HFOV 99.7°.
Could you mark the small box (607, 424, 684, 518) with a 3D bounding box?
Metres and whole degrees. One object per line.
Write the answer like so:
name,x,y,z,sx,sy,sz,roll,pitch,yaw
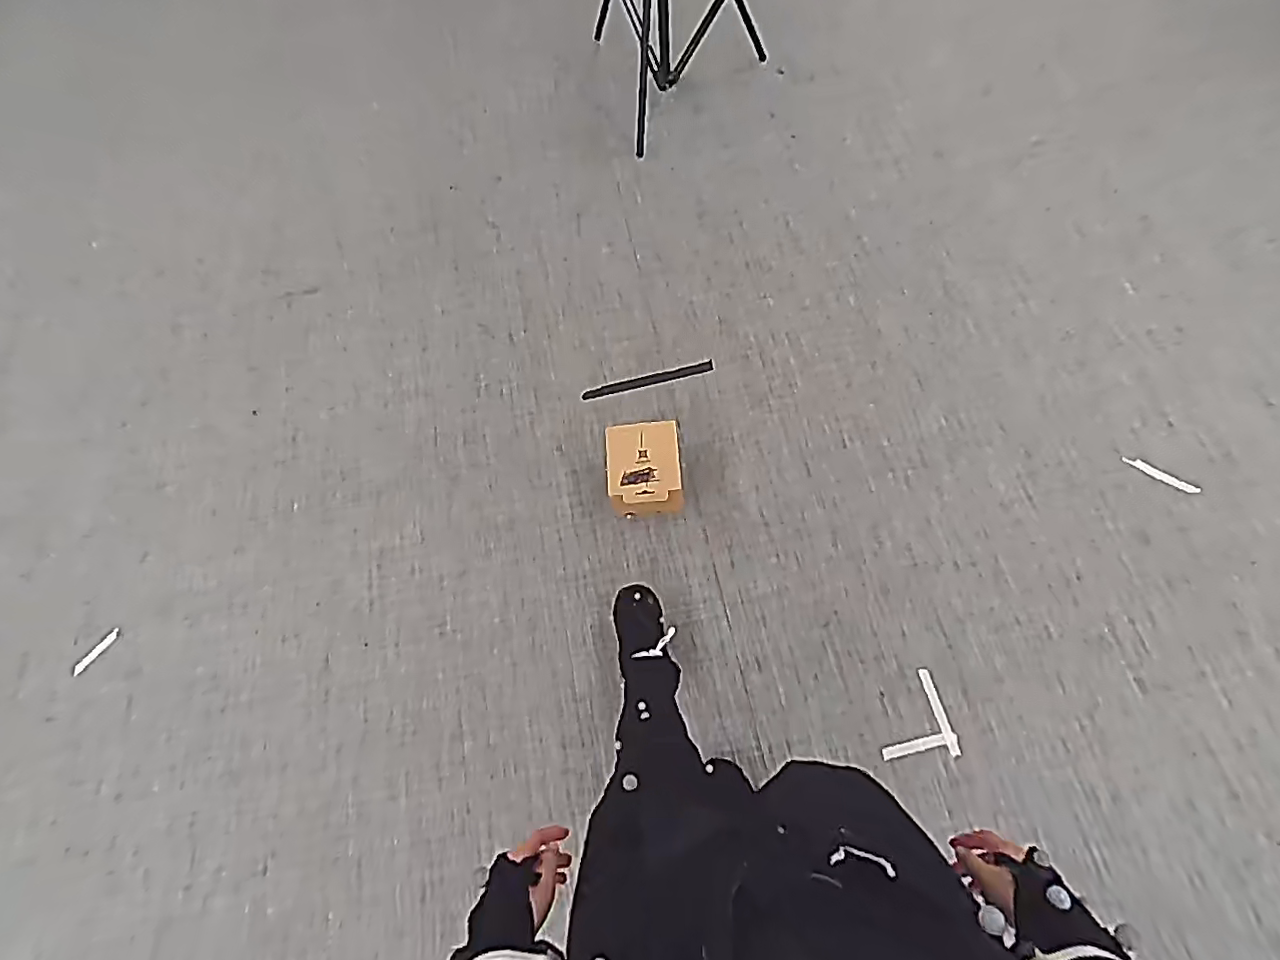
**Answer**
small box,0.016,-0.013,1.292,0.168,0.176,0.179,-5,69,3
